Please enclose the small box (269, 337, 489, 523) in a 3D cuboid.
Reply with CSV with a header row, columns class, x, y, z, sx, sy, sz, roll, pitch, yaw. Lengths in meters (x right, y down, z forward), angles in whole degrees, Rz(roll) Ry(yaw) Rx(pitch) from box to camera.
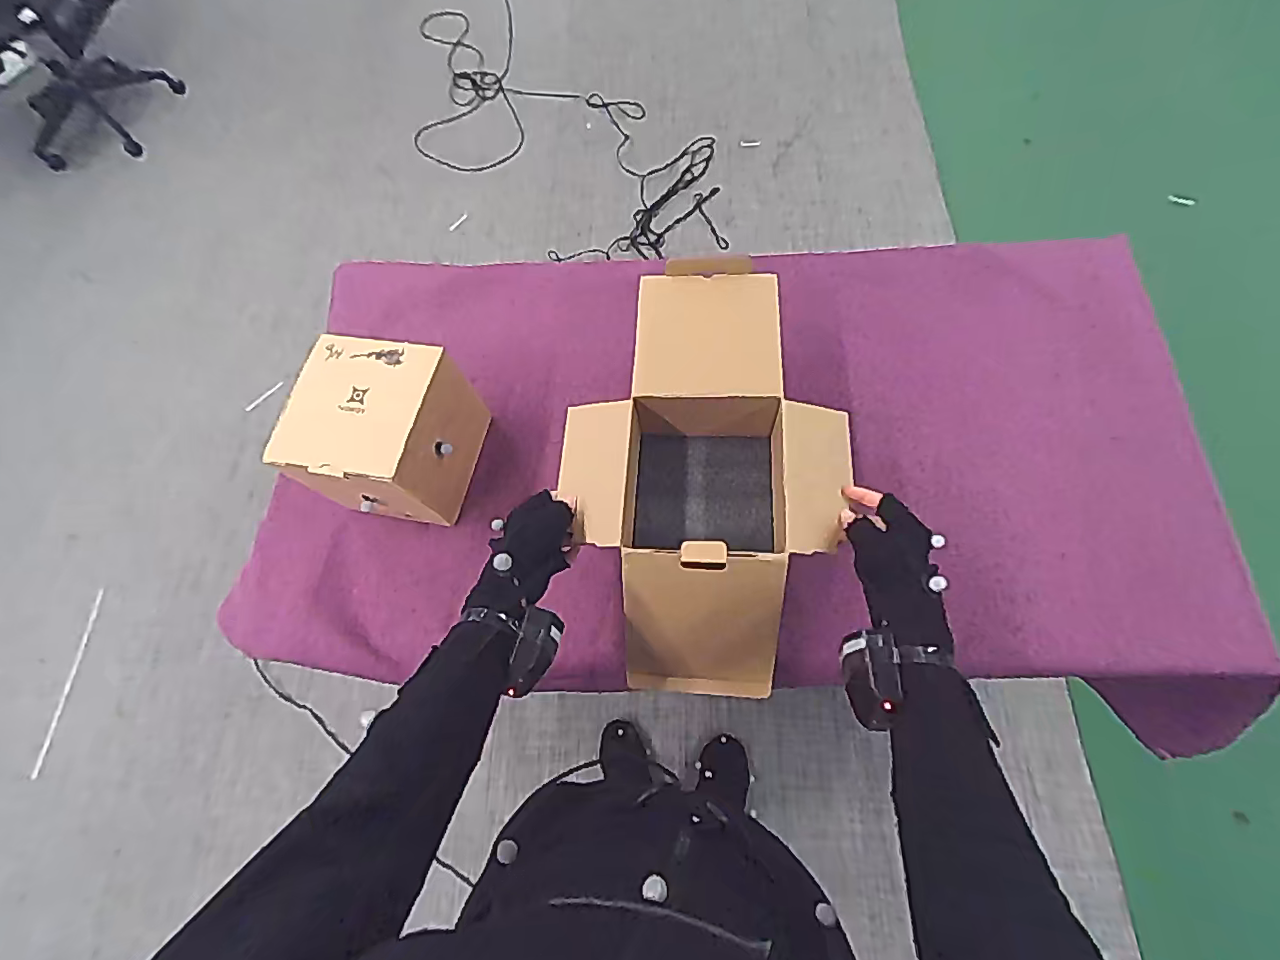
class,x,y,z,sx,sy,sz,roll,pitch,yaw
small box,-0.315,-0.056,0.696,0.168,0.176,0.179,9,69,9
